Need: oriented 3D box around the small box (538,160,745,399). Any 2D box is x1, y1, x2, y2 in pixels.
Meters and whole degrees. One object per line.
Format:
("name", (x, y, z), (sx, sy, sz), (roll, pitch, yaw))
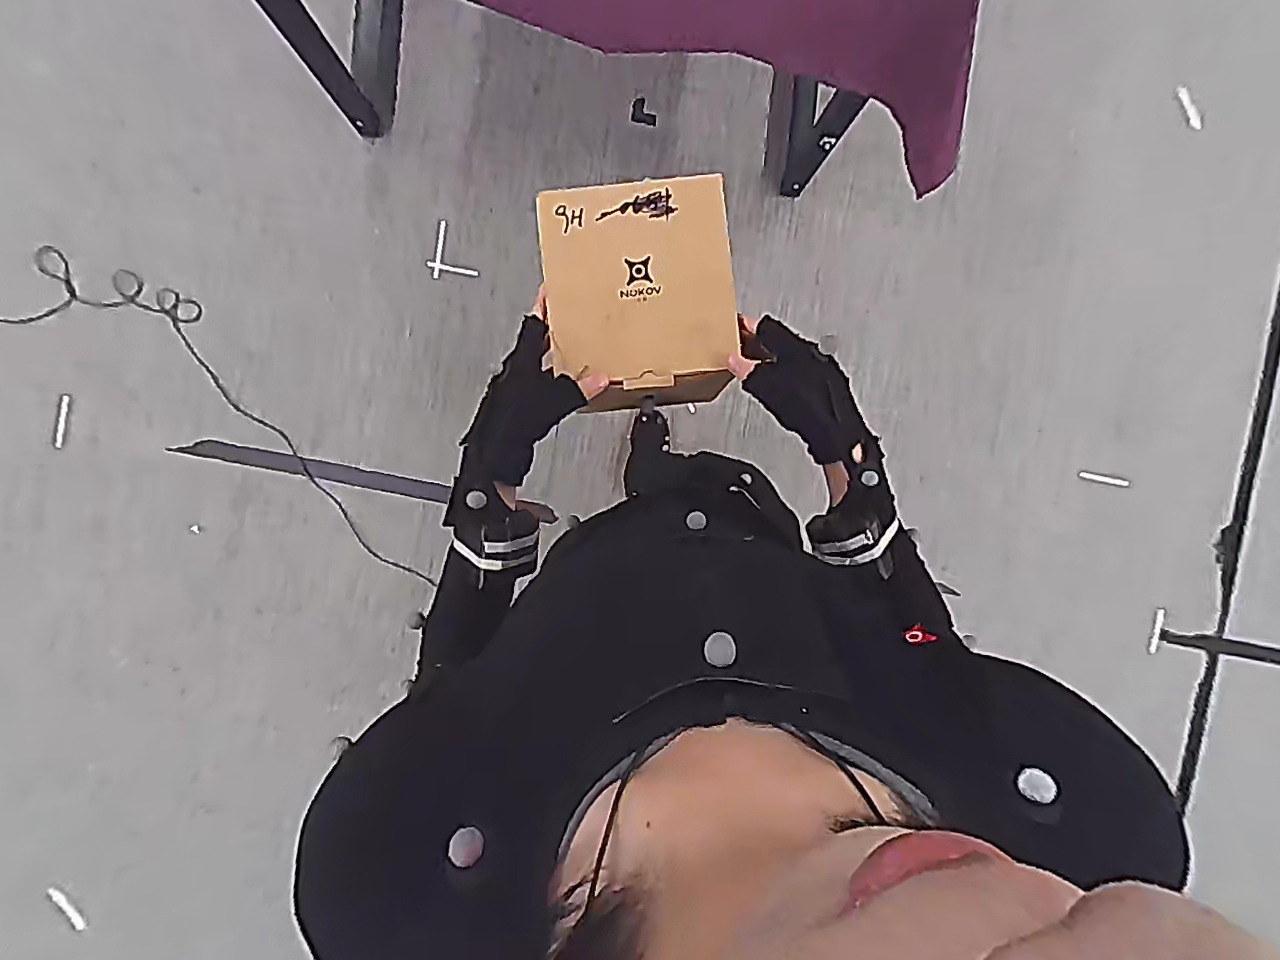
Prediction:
("small box", (0.002, -0.179, 0.539), (0.168, 0.176, 0.179), (-6, 90, 0))
